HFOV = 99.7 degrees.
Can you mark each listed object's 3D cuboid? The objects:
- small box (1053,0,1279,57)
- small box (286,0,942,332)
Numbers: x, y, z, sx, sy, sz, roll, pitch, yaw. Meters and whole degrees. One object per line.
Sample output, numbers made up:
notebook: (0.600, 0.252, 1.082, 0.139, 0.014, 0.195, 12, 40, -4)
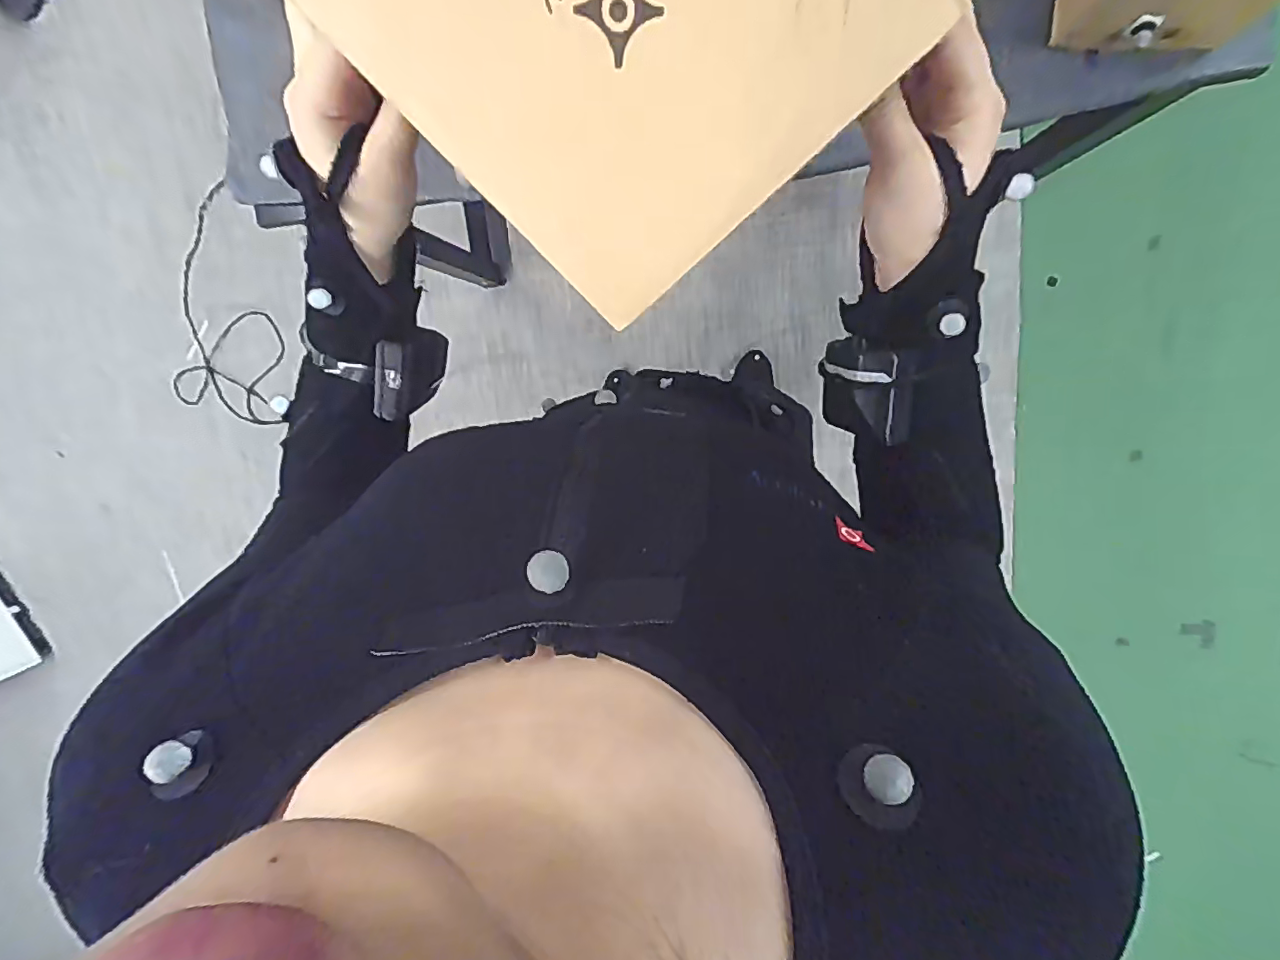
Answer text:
small box: (0.513, -0.526, 0.483, 0.168, 0.176, 0.179, 5, 99, 8)
small box: (-0.004, -0.210, 0.250, 0.168, 0.176, 0.179, -36, 116, 28)
